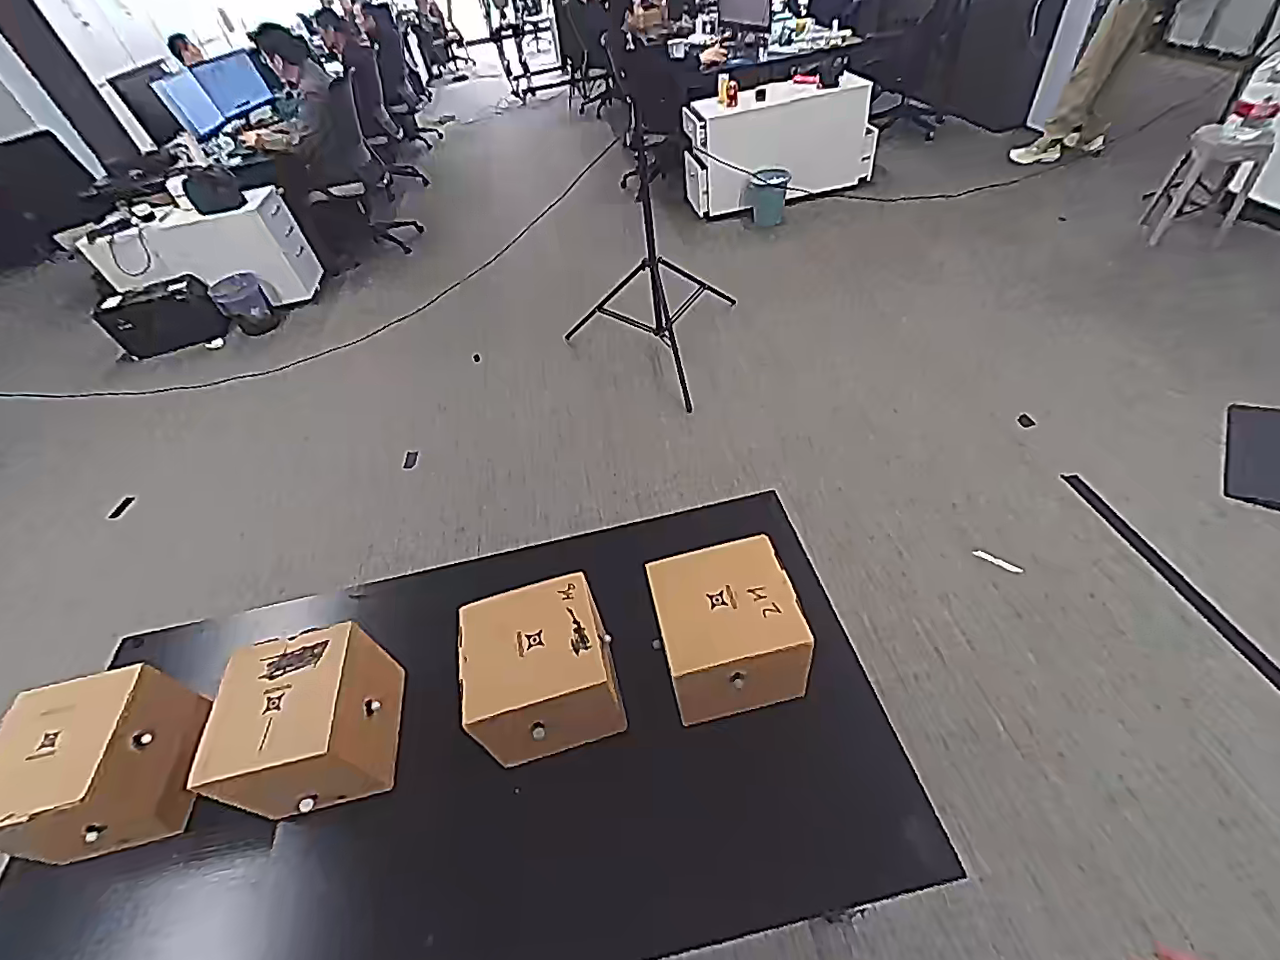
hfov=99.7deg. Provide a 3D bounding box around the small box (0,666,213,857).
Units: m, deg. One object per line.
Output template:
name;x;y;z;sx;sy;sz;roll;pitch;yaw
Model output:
small box;-0.727;0.386;0.734;0.168;0.176;0.179;-13;46;-4

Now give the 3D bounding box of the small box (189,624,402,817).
small box;-0.446;0.329;0.738;0.168;0.176;0.179;-13;47;-3

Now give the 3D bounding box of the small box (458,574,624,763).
small box;-0.134;0.263;0.747;0.179;0.176;0.168;-16;47;-5

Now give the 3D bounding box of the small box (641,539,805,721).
small box;0.111;0.212;0.750;0.179;0.176;0.168;-13;46;-2
